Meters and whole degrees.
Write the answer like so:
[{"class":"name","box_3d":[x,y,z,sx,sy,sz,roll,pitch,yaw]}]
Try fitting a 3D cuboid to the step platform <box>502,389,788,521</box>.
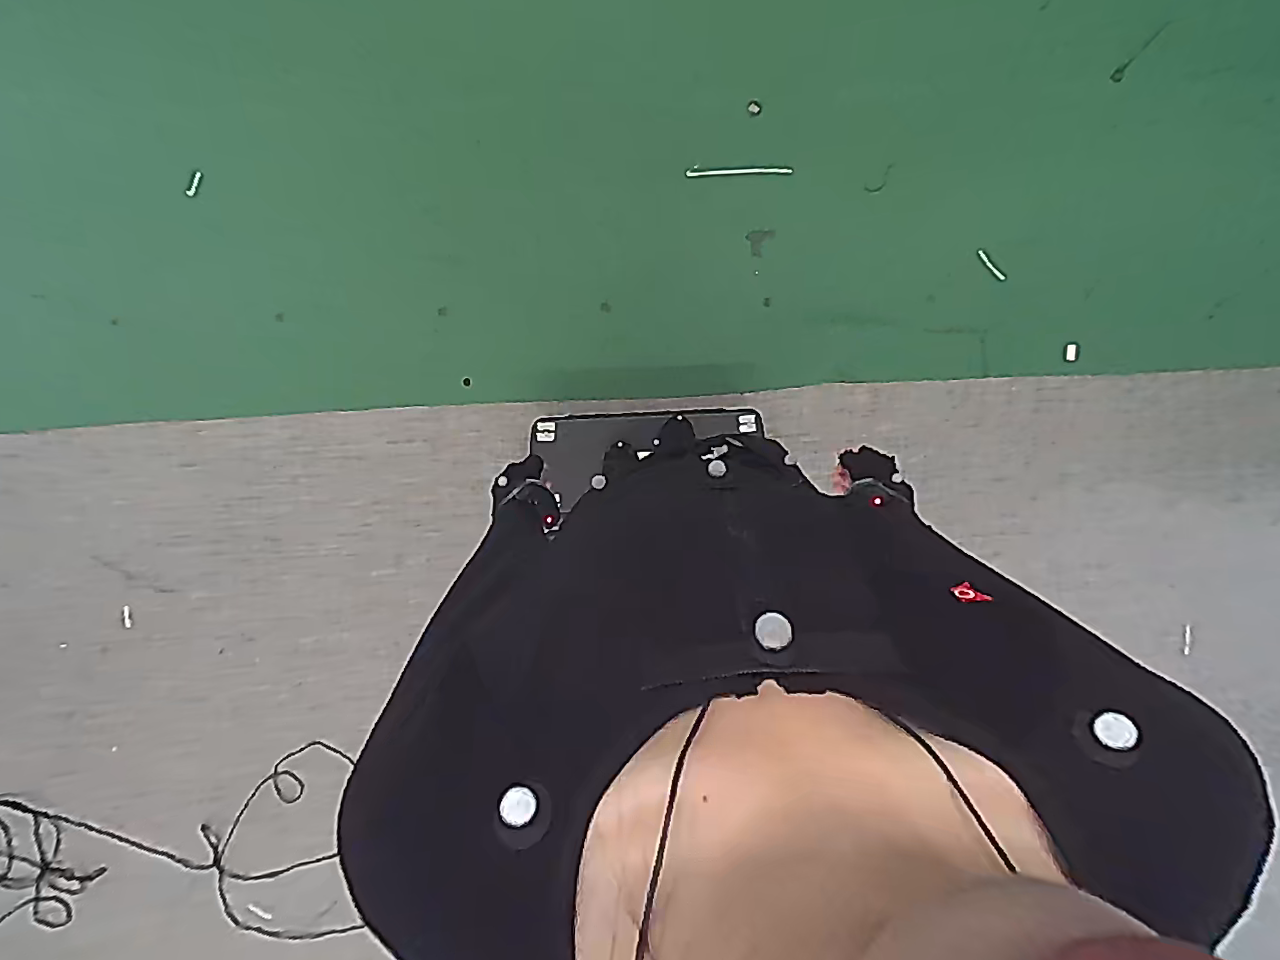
[{"class":"step platform","box_3d":[0.014,-0.068,1.378,0.684,0.204,0.286,-3,96,0]}]
